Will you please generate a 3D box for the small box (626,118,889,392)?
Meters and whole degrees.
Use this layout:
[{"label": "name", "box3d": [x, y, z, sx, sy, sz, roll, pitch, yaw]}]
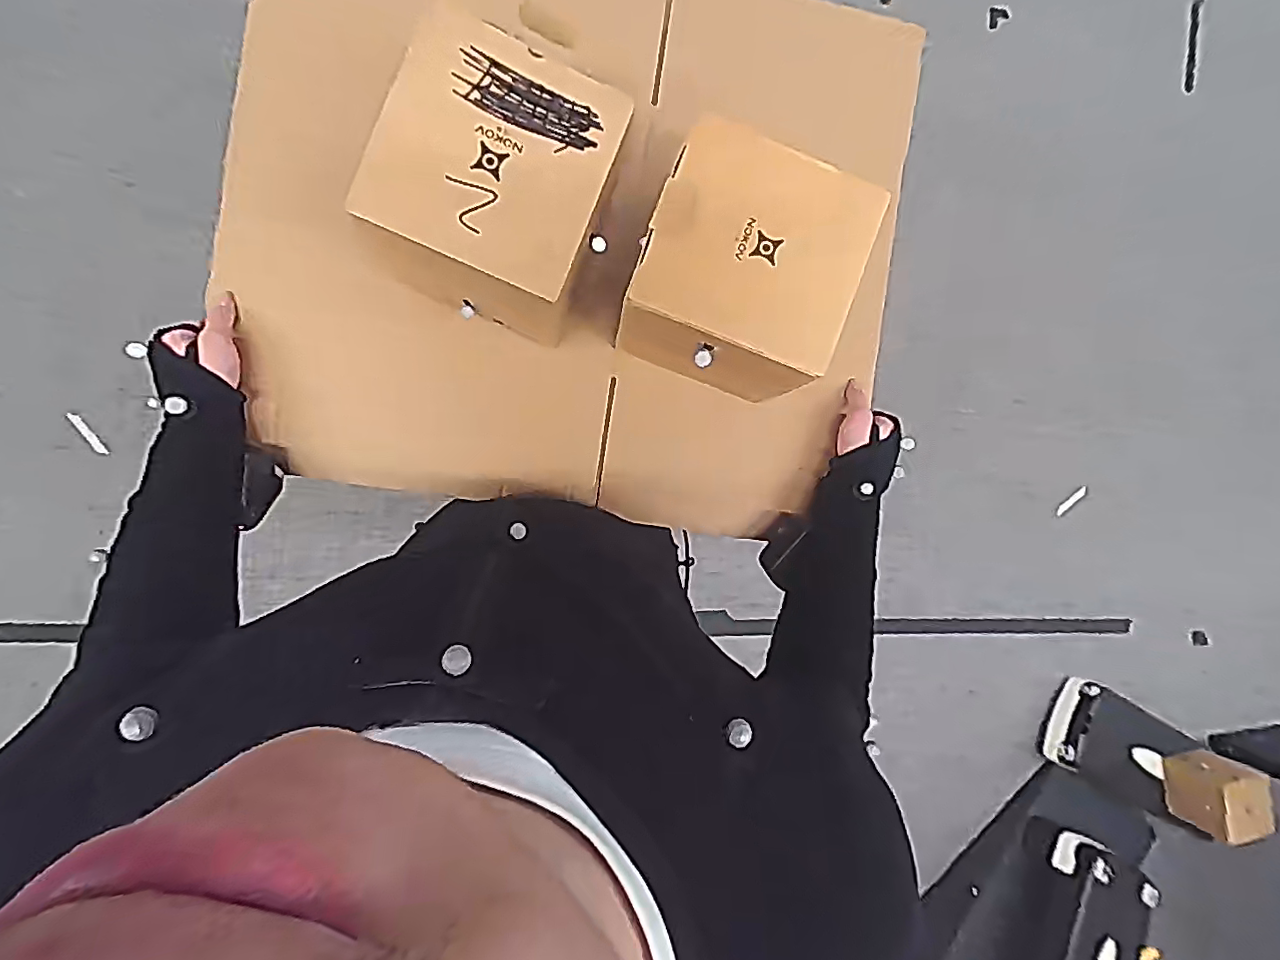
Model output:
[{"label": "small box", "box3d": [0.096, -0.194, 0.529, 0.179, 0.176, 0.168, 21, 90, -4]}]
